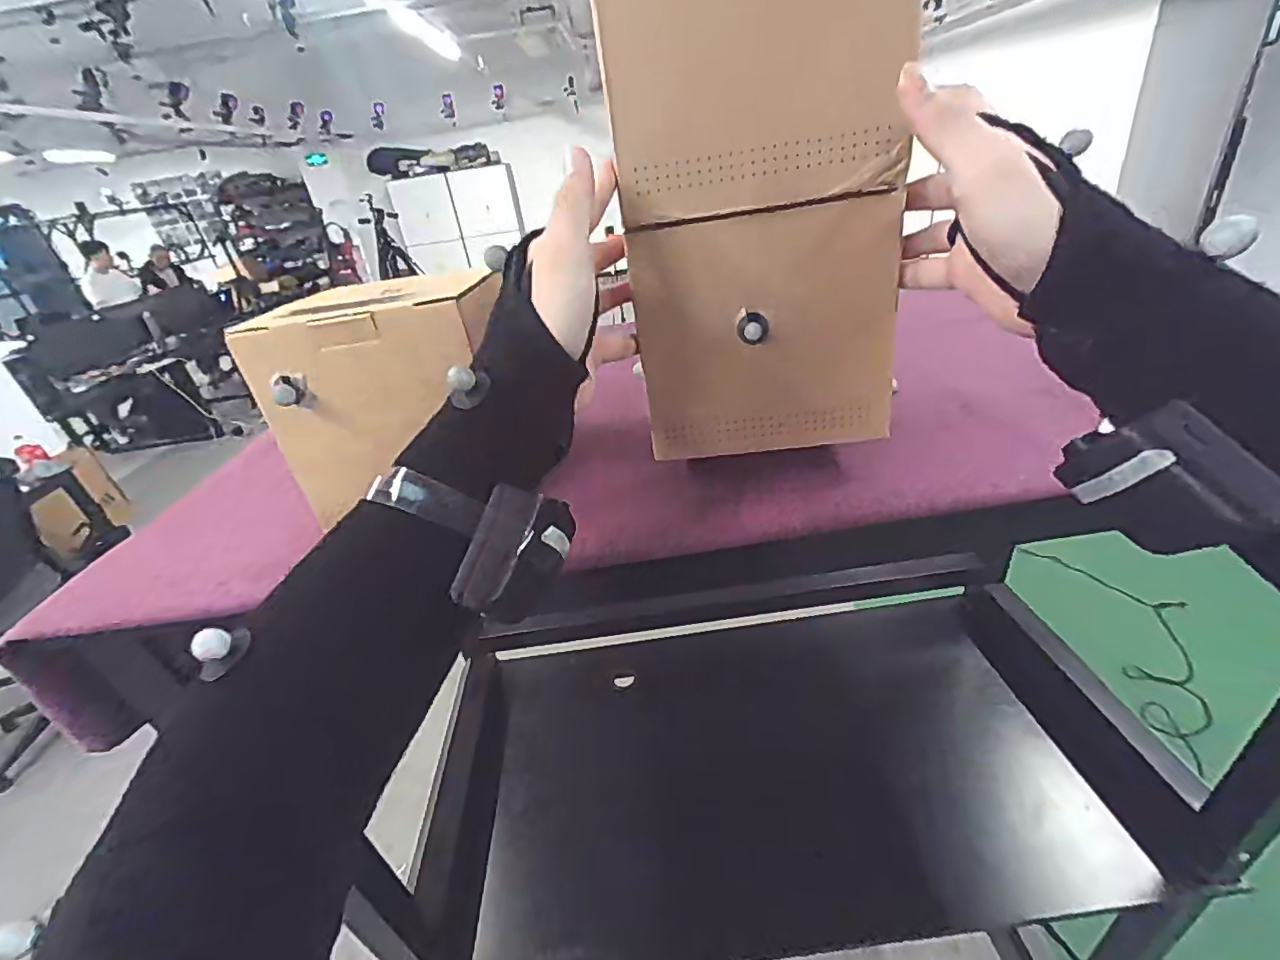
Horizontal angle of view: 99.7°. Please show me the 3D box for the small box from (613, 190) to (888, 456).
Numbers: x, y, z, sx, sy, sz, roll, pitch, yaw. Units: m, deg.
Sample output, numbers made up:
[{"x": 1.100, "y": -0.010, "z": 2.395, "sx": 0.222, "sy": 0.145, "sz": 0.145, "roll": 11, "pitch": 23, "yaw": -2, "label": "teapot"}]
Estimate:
[{"x": 0.086, "y": -0.133, "z": 0.449, "sx": 0.179, "sy": 0.176, "sz": 0.168, "roll": -6, "pitch": 27, "yaw": 8, "label": "small box"}]

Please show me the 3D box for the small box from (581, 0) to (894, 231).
[{"x": 0.064, "y": -0.275, "z": 0.370, "sx": 0.179, "sy": 0.176, "sz": 0.168, "roll": -5, "pitch": 28, "yaw": 9, "label": "small box"}]
